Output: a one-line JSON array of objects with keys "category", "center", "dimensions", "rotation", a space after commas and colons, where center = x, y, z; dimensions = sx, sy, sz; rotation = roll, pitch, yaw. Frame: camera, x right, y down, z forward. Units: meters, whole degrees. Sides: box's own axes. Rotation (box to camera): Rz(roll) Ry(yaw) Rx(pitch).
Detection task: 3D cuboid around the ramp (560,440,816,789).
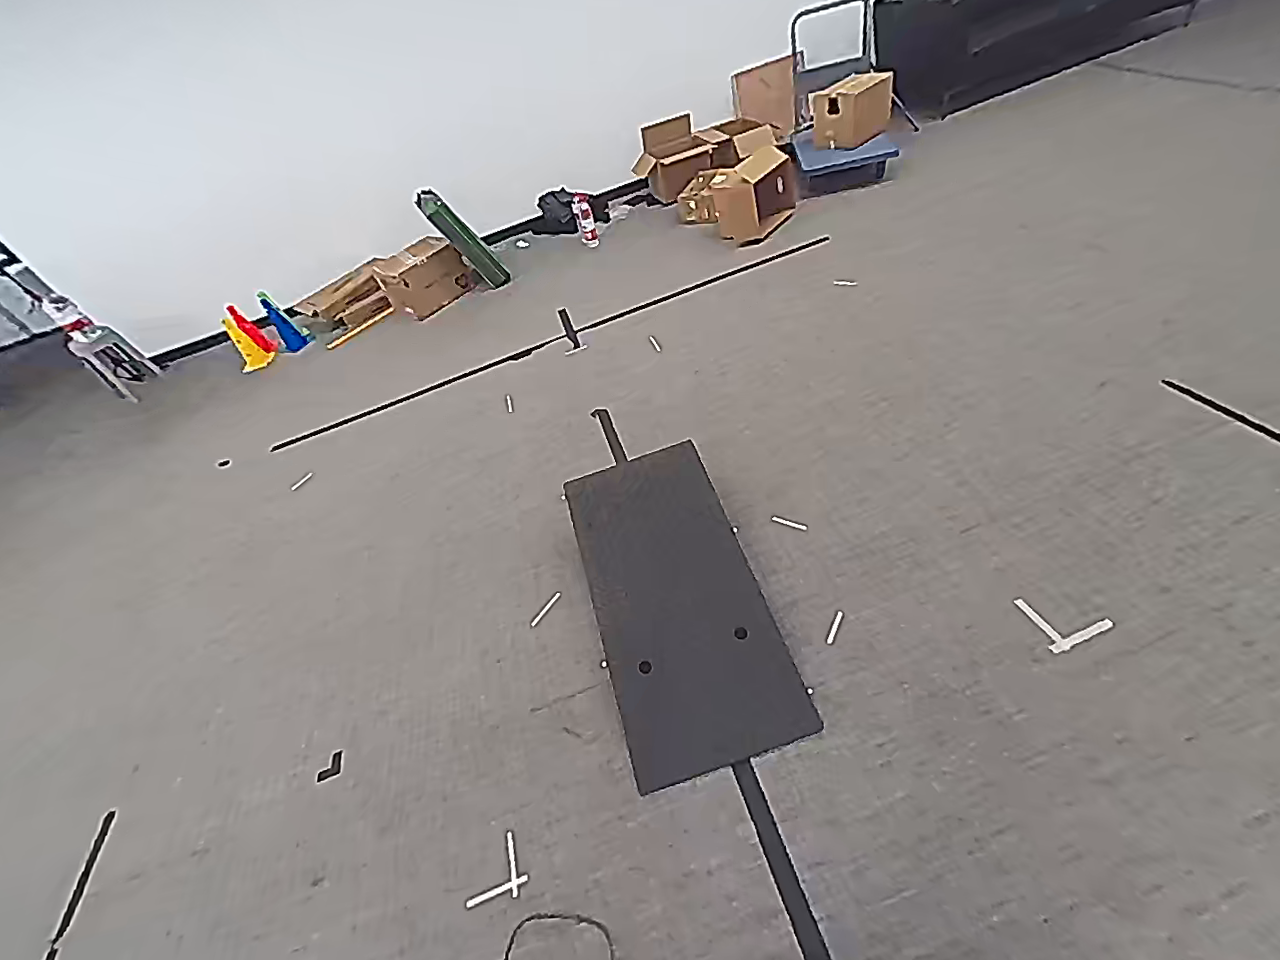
[{"category": "ramp", "center": [0.085, 0.317, 1.643], "dimensions": [0.509, 0.206, 0.991], "rotation": [-20, 44, -3]}]
